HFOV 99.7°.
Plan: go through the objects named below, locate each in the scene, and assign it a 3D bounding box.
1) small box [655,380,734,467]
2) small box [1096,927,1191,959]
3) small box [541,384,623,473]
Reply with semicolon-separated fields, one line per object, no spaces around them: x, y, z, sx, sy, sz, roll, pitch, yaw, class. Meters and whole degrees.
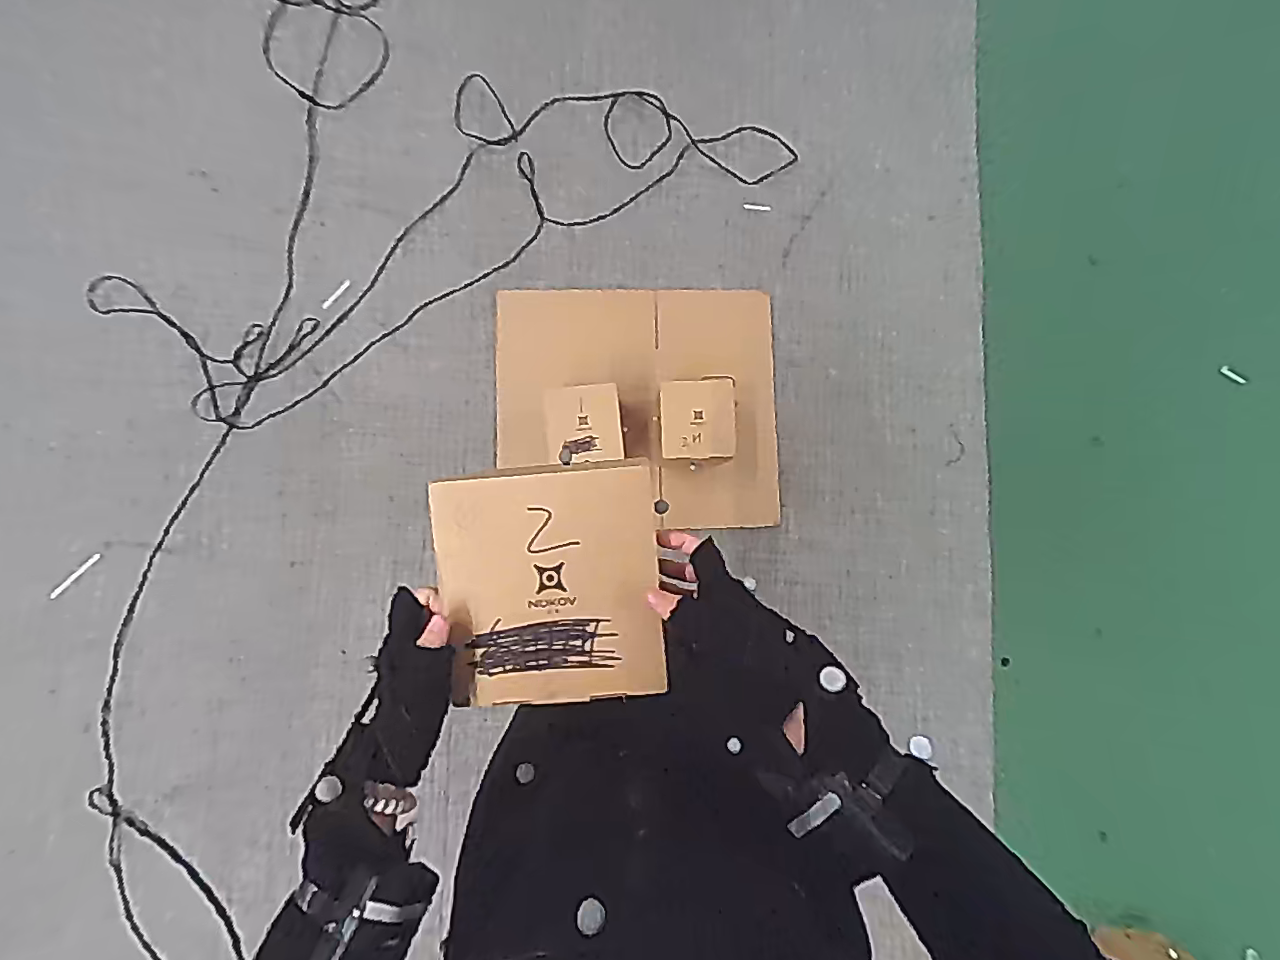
0.122;-0.127;1.270;0.168;0.176;0.179;-1;86;-2;small box
1.185;1.176;1.235;0.168;0.176;0.179;9;85;-2;small box
-0.129;-0.111;1.254;0.168;0.176;0.179;-6;86;-3;small box
